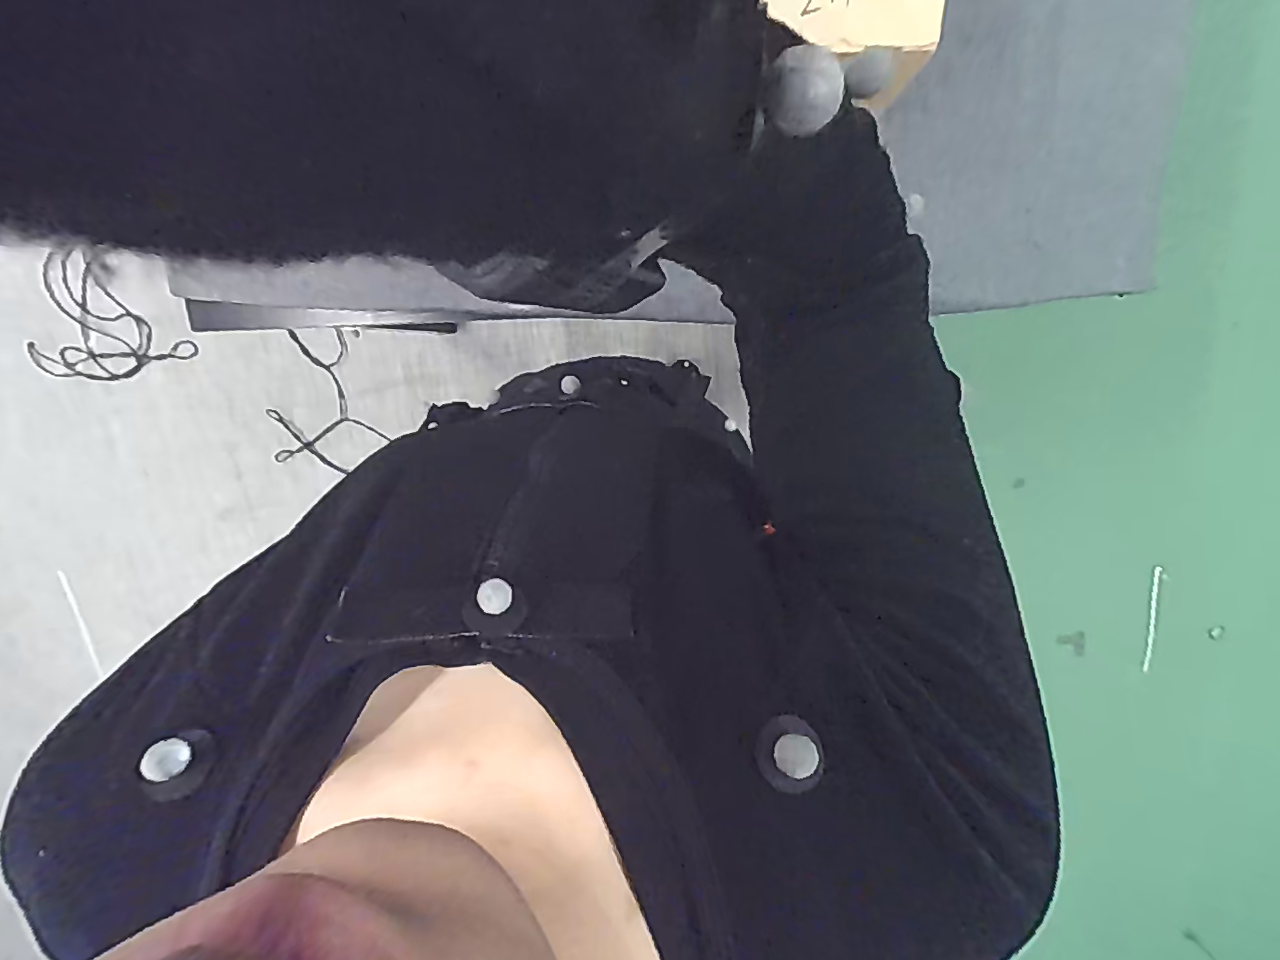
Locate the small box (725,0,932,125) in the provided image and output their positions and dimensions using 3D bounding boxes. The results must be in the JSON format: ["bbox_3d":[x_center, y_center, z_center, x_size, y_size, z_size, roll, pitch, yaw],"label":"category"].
[{"bbox_3d":[0.178,-0.483,0.531,0.168,0.176,0.179,5,107,3],"label":"small box"}]
